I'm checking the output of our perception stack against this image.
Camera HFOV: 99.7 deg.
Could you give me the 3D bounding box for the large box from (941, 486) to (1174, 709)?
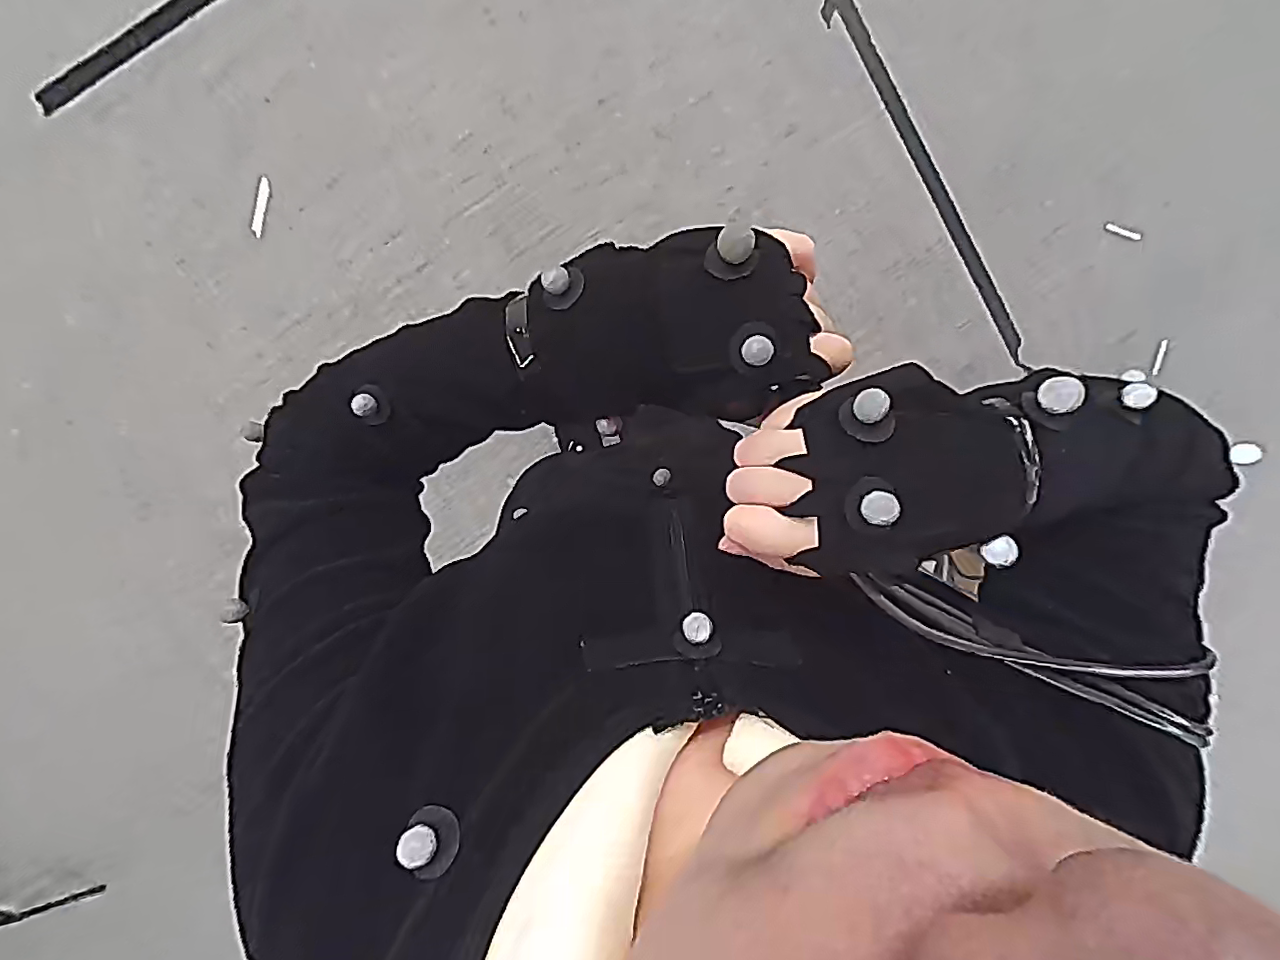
[{"bbox_3d":[1.006,0.264,1.331,0.320,0.320,0.408,-15,100,-4],"label":"large box"}]
